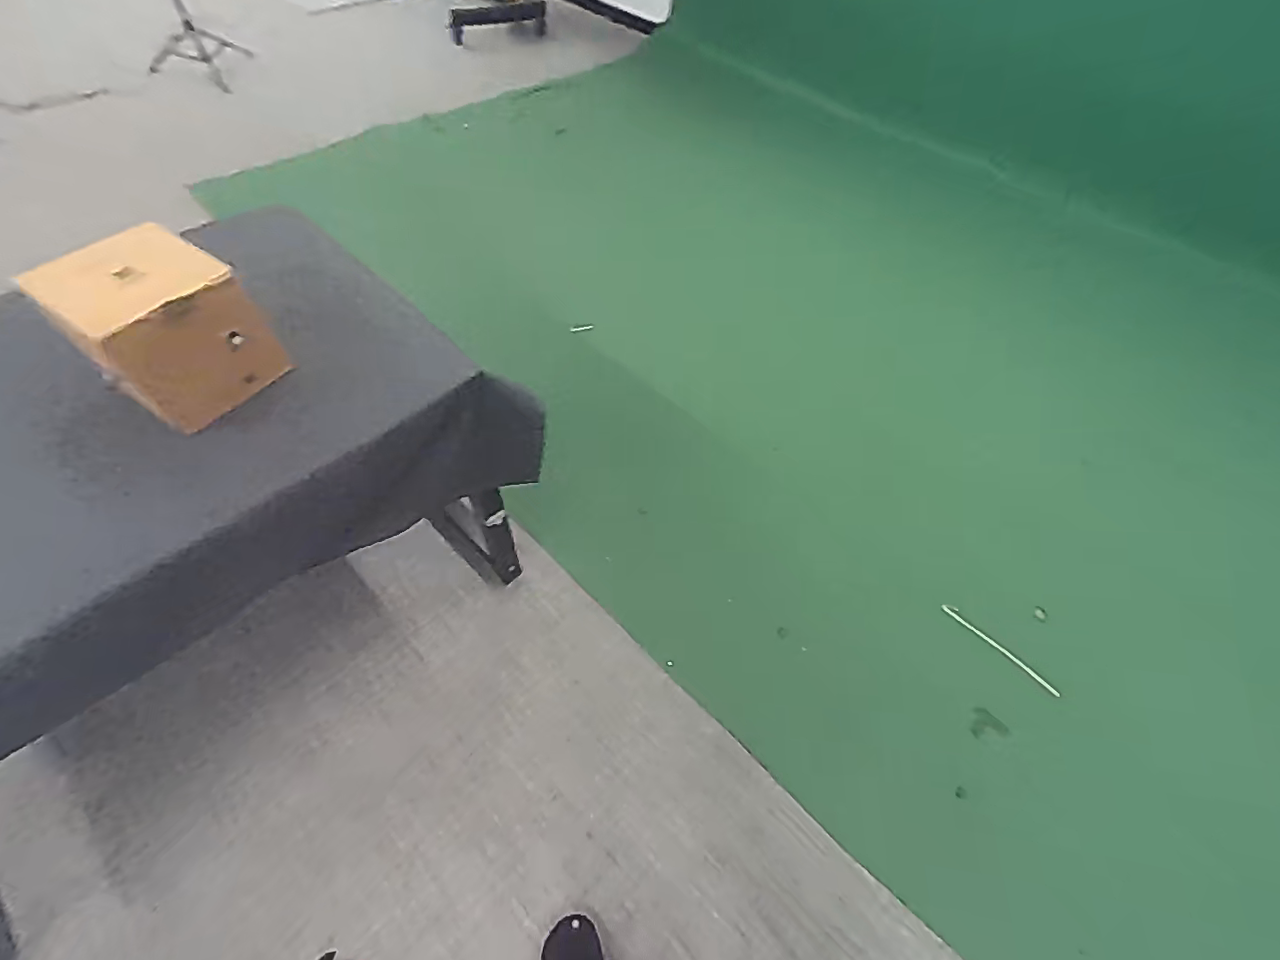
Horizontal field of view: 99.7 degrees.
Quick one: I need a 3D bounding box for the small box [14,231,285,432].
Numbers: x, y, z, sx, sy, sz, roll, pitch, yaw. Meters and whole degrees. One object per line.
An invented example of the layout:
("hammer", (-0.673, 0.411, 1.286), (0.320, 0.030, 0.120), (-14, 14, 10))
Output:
("small box", (-0.622, -0.189, 0.714), (0.179, 0.176, 0.168), (29, 57, 16))
